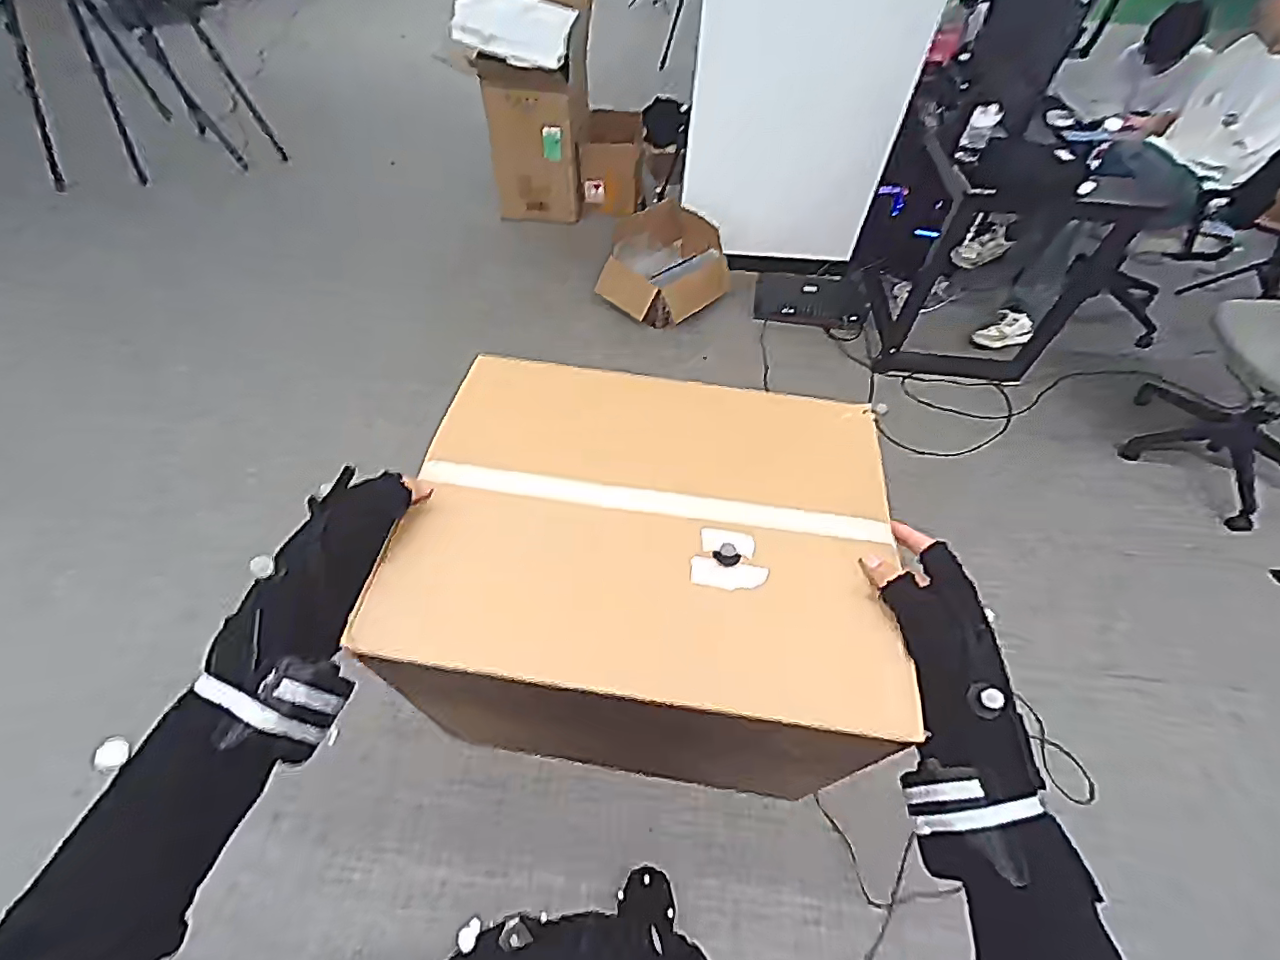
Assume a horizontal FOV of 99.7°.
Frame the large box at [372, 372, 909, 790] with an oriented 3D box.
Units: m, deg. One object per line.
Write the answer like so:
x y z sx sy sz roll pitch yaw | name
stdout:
0.007 0.118 0.597 0.408 0.320 0.320 8 54 3 | large box
